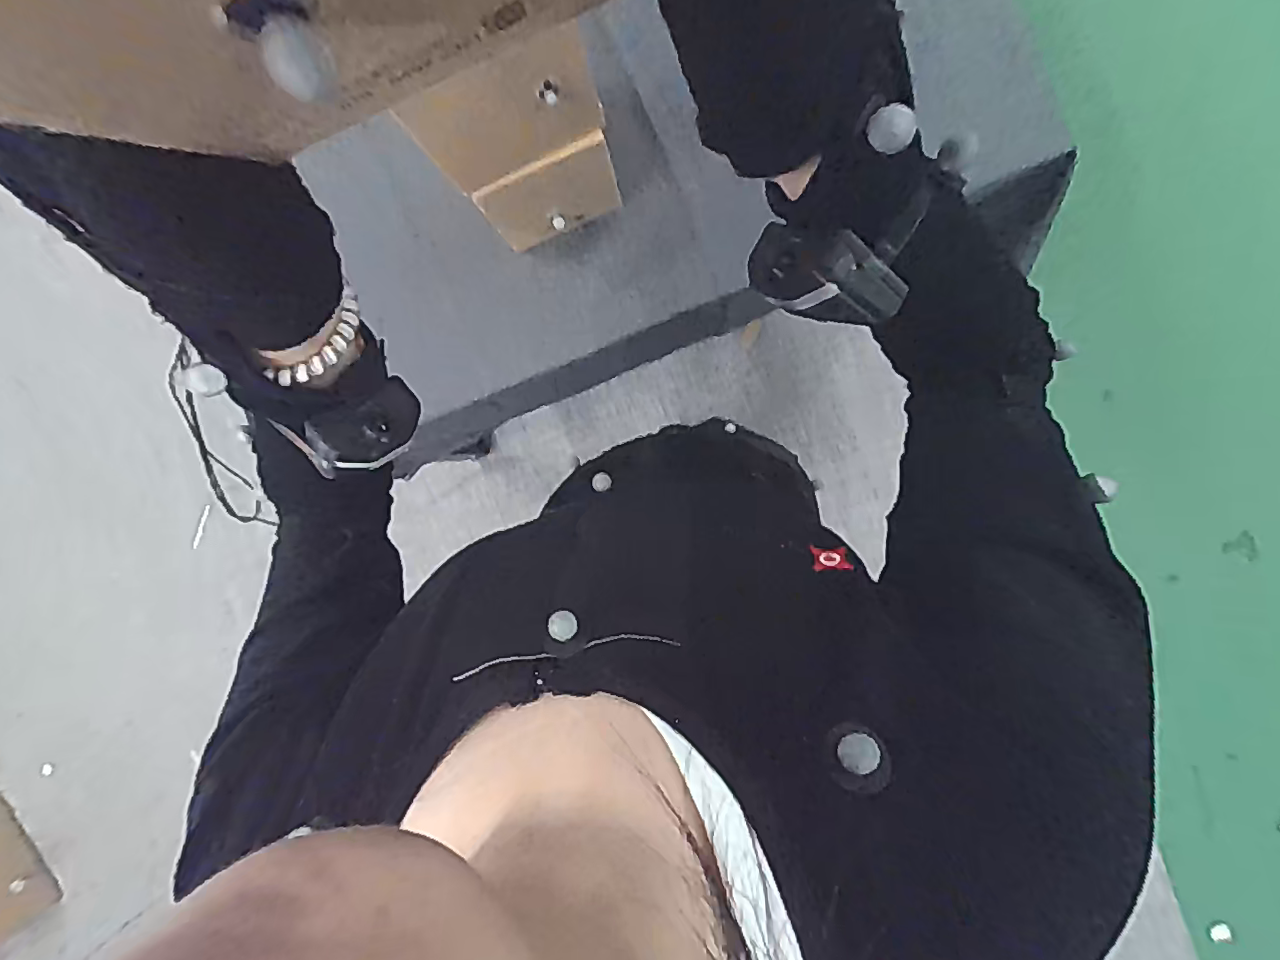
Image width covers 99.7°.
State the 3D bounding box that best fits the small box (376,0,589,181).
[{"bbox_3d":[-0.158,-0.427,0.508,0.179,0.176,0.168,-23,90,6],"label":"small box"}]

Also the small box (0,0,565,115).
[{"bbox_3d":[-0.089,-0.190,0.090,0.168,0.176,0.179,-20,115,7],"label":"small box"}]

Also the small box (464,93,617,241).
[{"bbox_3d":[-0.139,-0.434,0.669,0.168,0.176,0.179,-21,92,6],"label":"small box"}]
